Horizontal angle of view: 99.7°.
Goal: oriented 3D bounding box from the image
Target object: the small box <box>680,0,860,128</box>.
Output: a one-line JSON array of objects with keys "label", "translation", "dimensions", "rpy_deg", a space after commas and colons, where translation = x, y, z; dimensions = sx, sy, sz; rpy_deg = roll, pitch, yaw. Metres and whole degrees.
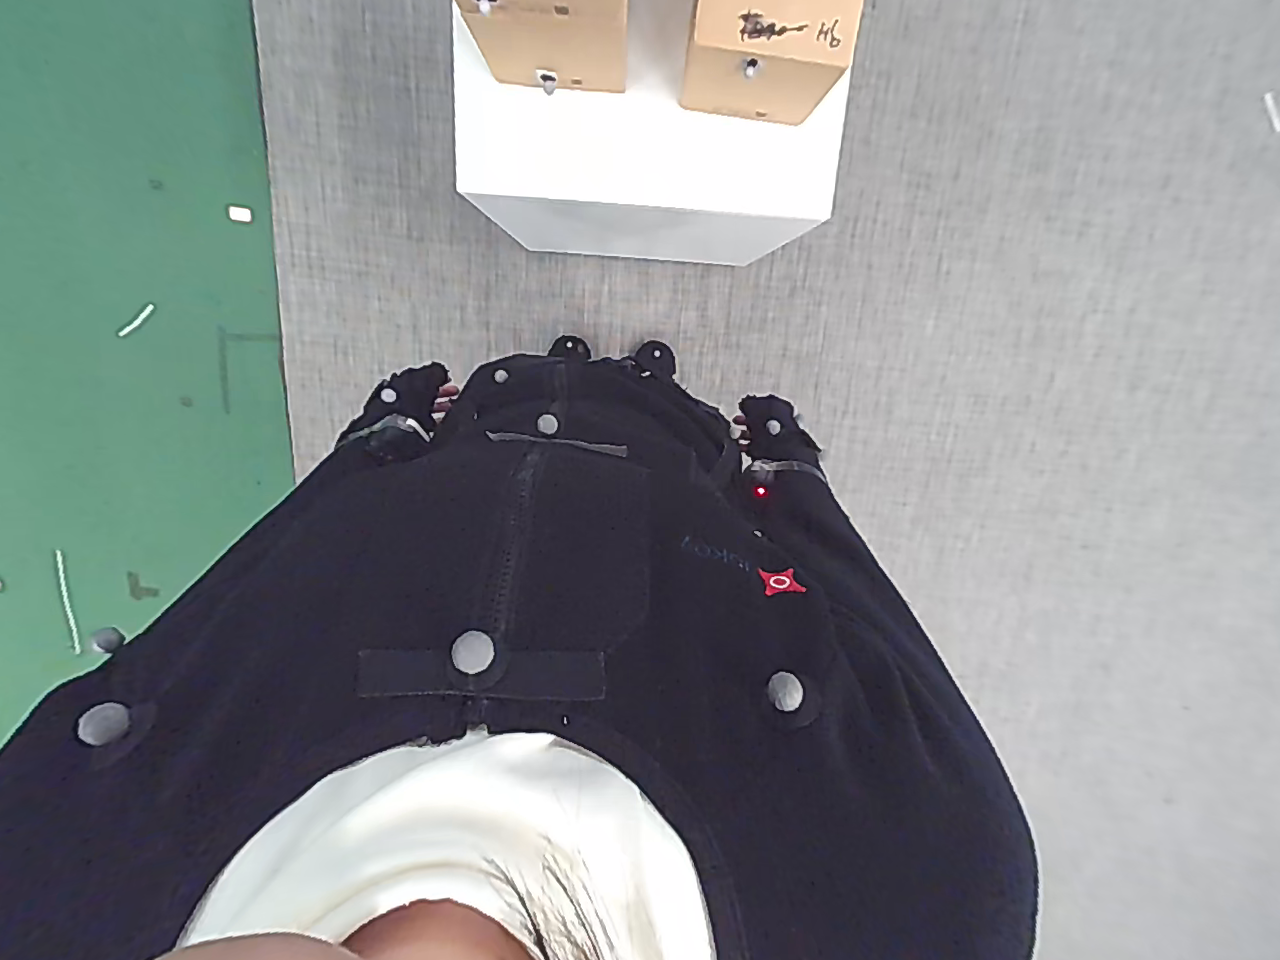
[{"label": "small box", "translation": [0.142, -0.536, 0.610], "dimensions": [0.168, 0.176, 0.179], "rpy_deg": [7, 104, -3]}]

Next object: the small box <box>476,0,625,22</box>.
[{"label": "small box", "translation": [-0.091, -0.522, 0.441], "dimensions": [0.168, 0.176, 0.179], "rpy_deg": [4, 104, -2]}]

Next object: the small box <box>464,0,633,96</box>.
[{"label": "small box", "translation": [-0.093, -0.564, 0.600], "dimensions": [0.168, 0.176, 0.179], "rpy_deg": [2, 107, -1]}]
